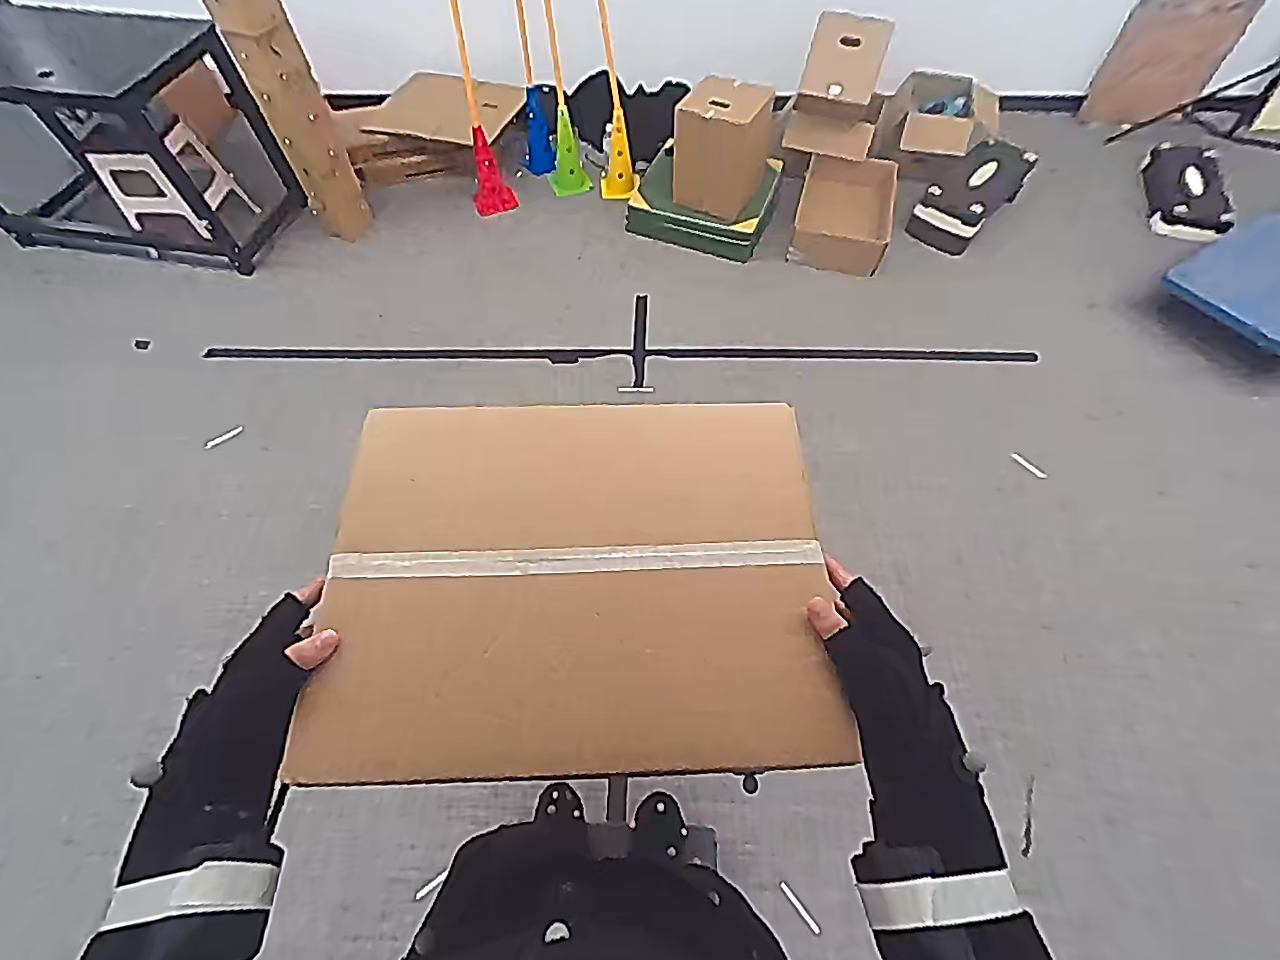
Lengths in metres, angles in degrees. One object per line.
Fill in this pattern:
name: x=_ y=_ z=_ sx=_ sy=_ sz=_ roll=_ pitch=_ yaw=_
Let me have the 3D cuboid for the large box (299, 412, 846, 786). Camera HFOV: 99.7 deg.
large box: x=-0.053 y=0.141 z=0.589 sx=0.408 sy=0.320 sz=0.320 roll=-1 pitch=62 yaw=-2

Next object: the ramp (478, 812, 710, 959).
ramp: x=-0.101 y=1.229 z=1.058 sx=0.509 sy=0.206 sz=0.991 roll=1 pitch=60 yaw=-2
